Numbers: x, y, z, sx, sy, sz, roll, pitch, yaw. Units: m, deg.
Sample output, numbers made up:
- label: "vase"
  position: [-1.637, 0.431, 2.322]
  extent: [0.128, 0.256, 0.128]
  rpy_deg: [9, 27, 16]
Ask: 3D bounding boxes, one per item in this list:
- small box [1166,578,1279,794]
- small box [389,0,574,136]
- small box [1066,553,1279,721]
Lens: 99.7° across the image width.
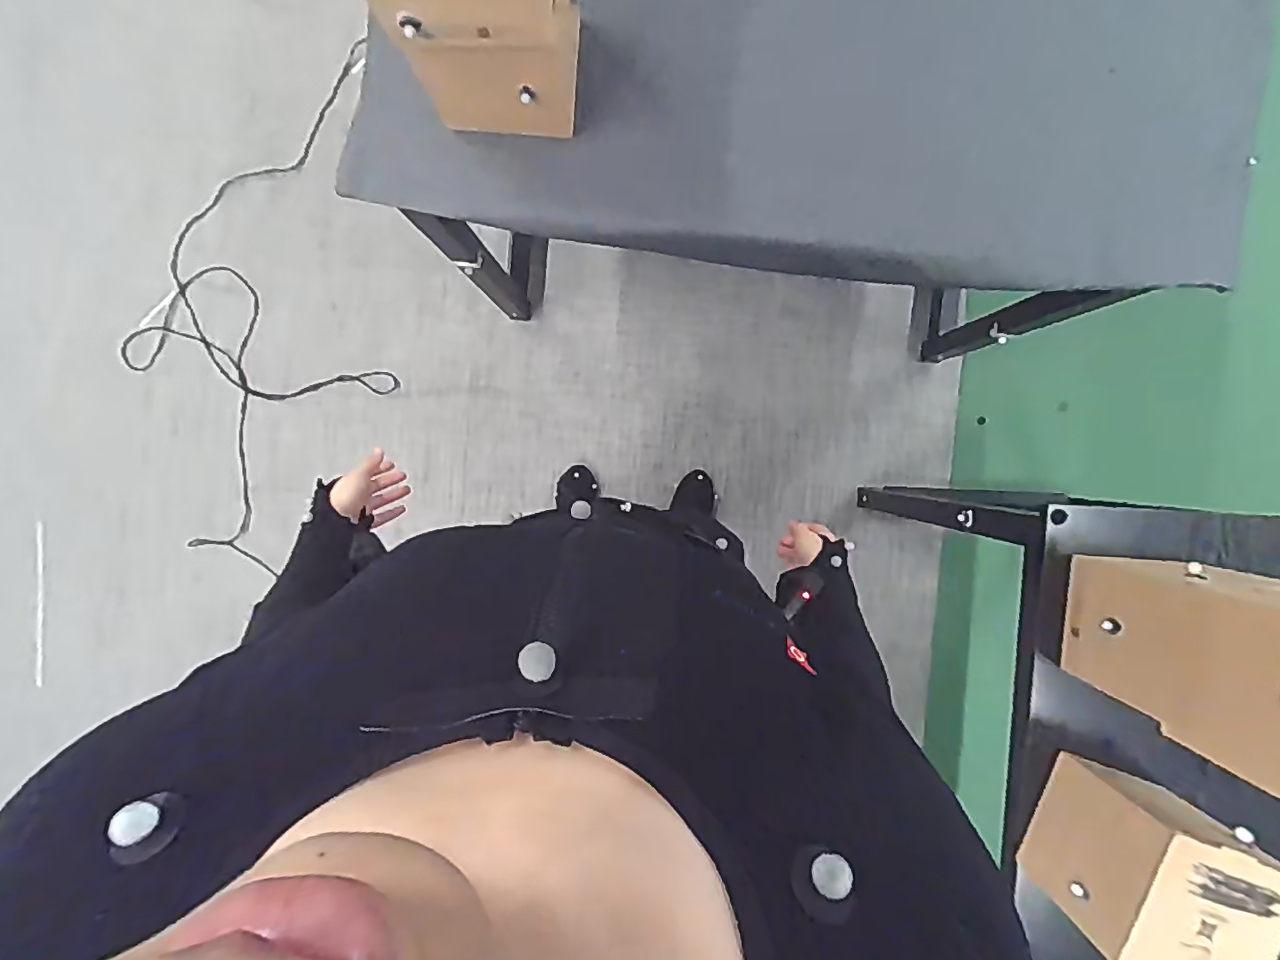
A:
- label: "small box"
  position: [0.660, 0.203, 0.511]
  extent: [0.168, 0.176, 0.179]
  rpy_deg: [4, 93, 2]
- label: "small box"
  position: [-0.179, -0.553, 0.660]
  extent: [0.179, 0.176, 0.168]
  rpy_deg: [3, 91, 2]
- label: "small box"
  position: [0.680, 0.190, 0.673]
  extent: [0.179, 0.176, 0.168]
  rpy_deg: [4, 94, 1]
